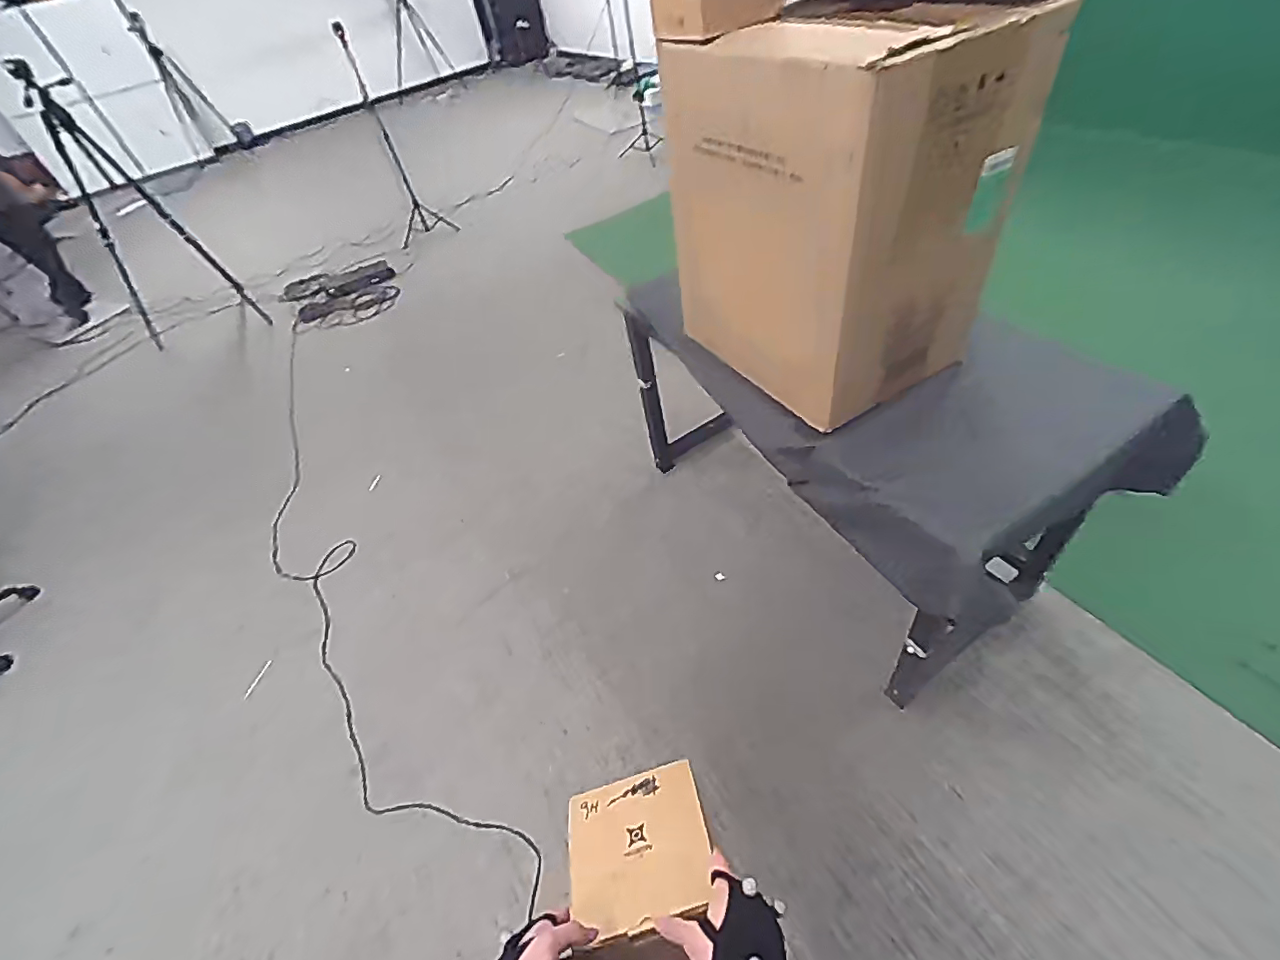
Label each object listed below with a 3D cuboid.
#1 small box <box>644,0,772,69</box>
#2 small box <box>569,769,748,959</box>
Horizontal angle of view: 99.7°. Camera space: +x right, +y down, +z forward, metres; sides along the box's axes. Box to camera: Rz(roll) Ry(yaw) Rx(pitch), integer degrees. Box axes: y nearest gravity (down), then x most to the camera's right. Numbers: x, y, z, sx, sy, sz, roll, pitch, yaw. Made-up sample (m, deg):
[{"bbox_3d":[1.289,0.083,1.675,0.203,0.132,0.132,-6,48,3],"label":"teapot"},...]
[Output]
[{"bbox_3d":[0.118,-0.843,0.946,0.179,0.176,0.168,-28,46,-14],"label":"small box"},{"bbox_3d":[0.020,0.503,0.655,0.168,0.176,0.179,-19,22,0],"label":"small box"}]
